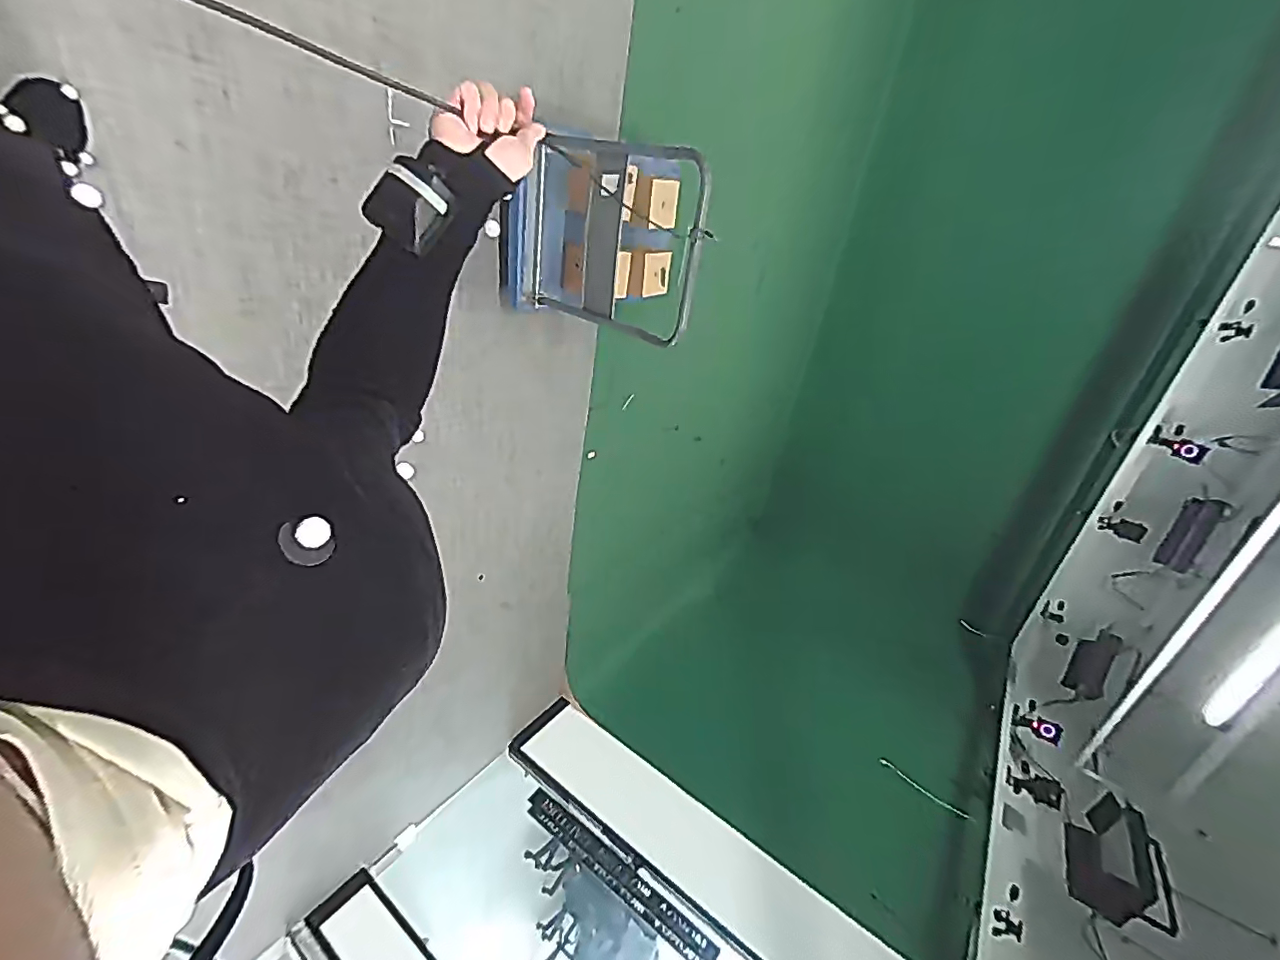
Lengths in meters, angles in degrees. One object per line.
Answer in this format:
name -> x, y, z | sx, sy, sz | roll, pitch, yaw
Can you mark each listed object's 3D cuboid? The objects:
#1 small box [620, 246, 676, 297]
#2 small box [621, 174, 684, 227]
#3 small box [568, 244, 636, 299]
small box -> 0.023, -0.850, 2.193 | 0.179, 0.176, 0.168 | -29, 134, -45
small box -> 0.044, -1.066, 2.065 | 0.179, 0.176, 0.168 | -30, 137, -45
small box -> -0.140, -0.770, 1.994 | 0.179, 0.176, 0.168 | -24, 132, -48
